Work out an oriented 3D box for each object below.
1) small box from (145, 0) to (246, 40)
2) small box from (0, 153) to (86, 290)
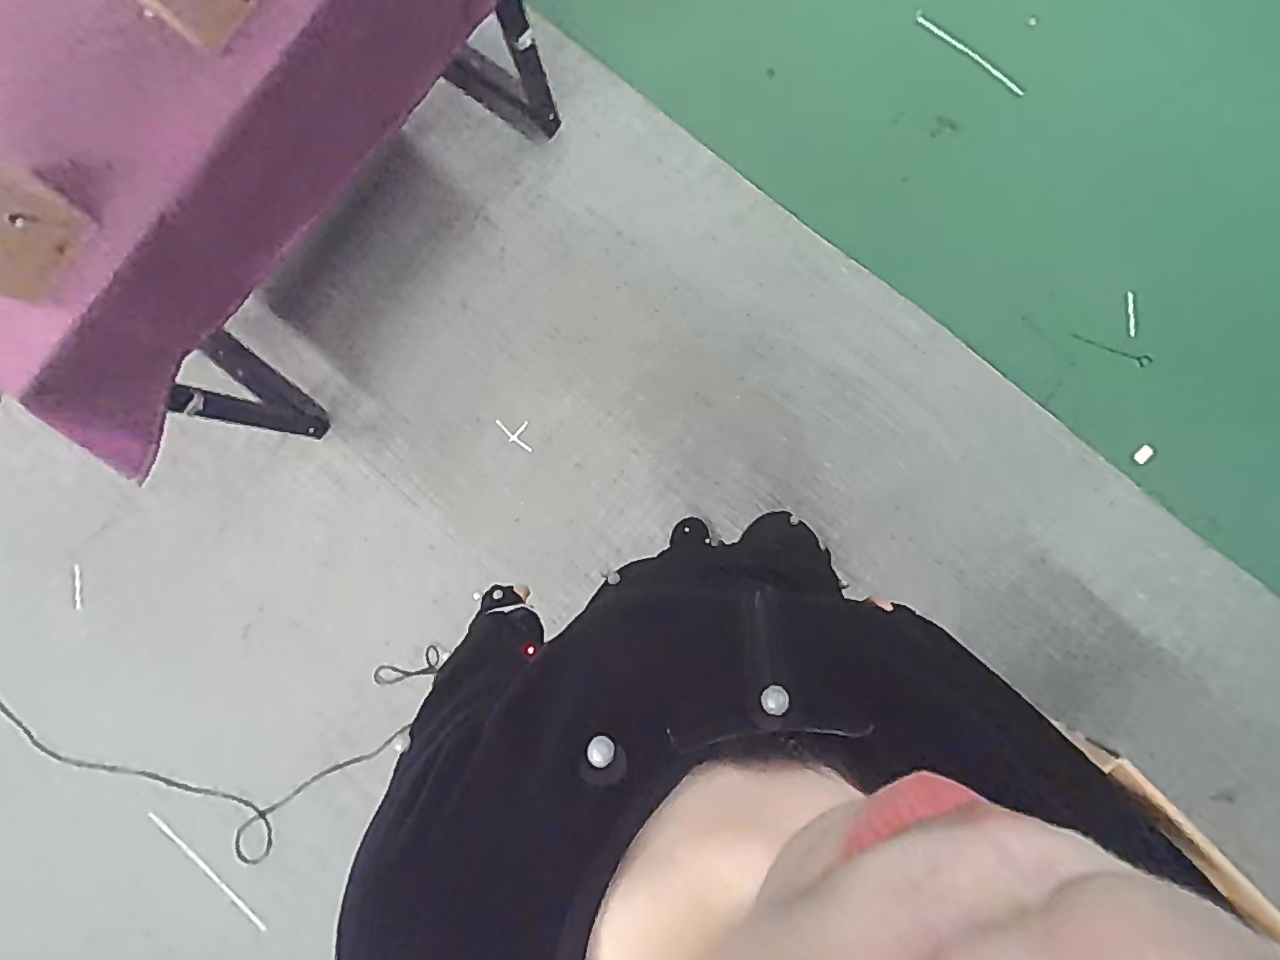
[{"bbox_3d":[-0.707,-0.805,0.790,0.179,0.176,0.168,38,90,4],"label":"small box"},{"bbox_3d":[-0.993,-0.406,0.789,0.179,0.176,0.168,36,89,5],"label":"small box"}]
